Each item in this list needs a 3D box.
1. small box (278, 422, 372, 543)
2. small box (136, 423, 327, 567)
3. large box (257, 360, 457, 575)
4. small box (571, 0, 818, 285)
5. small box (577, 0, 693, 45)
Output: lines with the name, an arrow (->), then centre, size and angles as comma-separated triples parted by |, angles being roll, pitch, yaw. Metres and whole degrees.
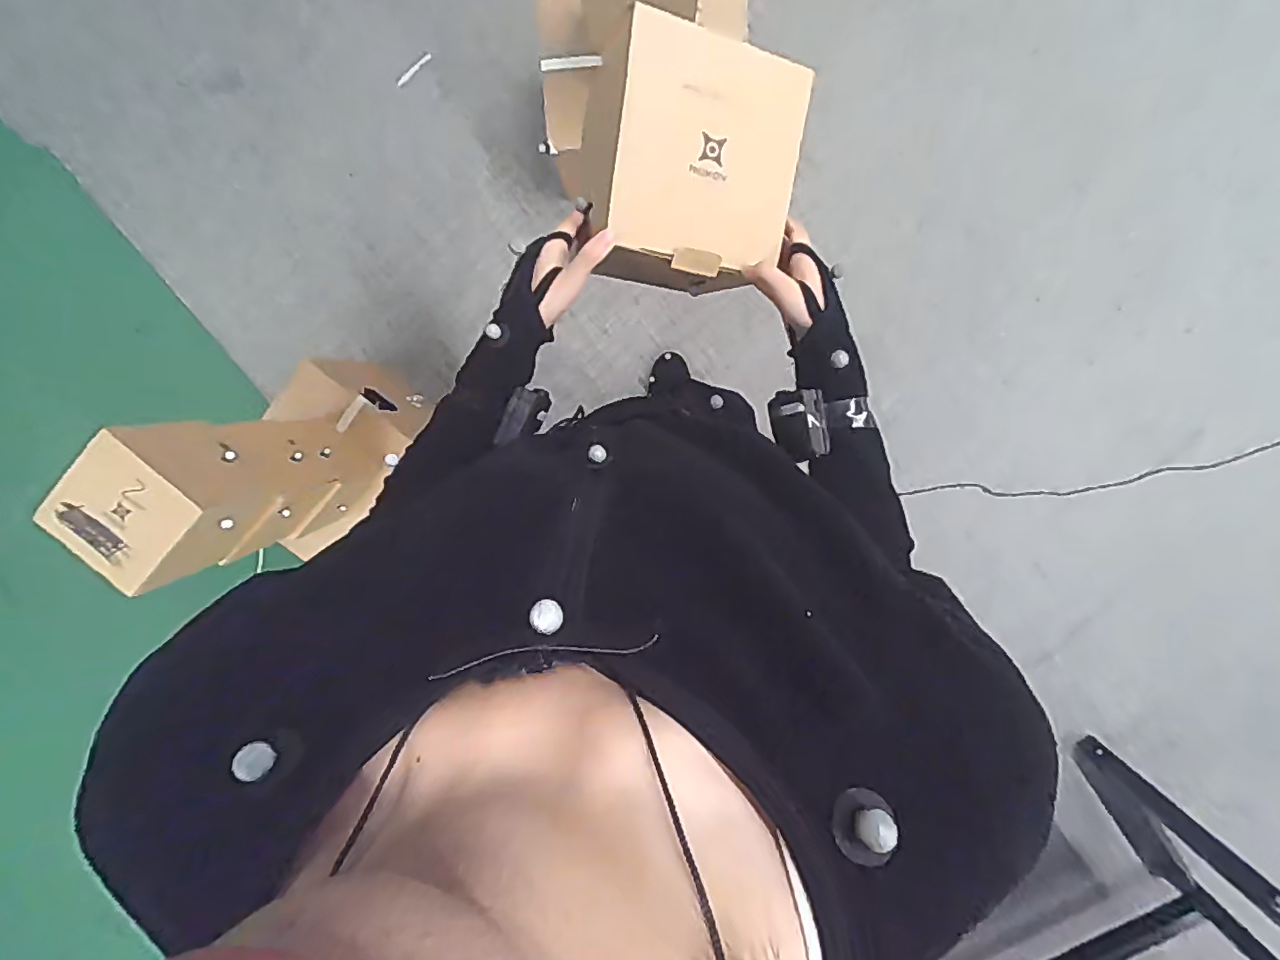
small box -> -0.701, -0.005, 1.118 | 0.179, 0.176, 0.168 | 44, 98, -7
small box -> -0.705, 0.018, 0.957 | 0.179, 0.176, 0.168 | -44, 97, 7
large box -> -0.737, -0.049, 1.360 | 0.320, 0.320, 0.408 | 39, 100, -5
small box -> 0.036, -0.294, 0.518 | 0.168, 0.176, 0.179 | 4, 102, -21
small box -> -0.008, -0.783, 0.795 | 0.179, 0.176, 0.168 | -2, 100, 2
